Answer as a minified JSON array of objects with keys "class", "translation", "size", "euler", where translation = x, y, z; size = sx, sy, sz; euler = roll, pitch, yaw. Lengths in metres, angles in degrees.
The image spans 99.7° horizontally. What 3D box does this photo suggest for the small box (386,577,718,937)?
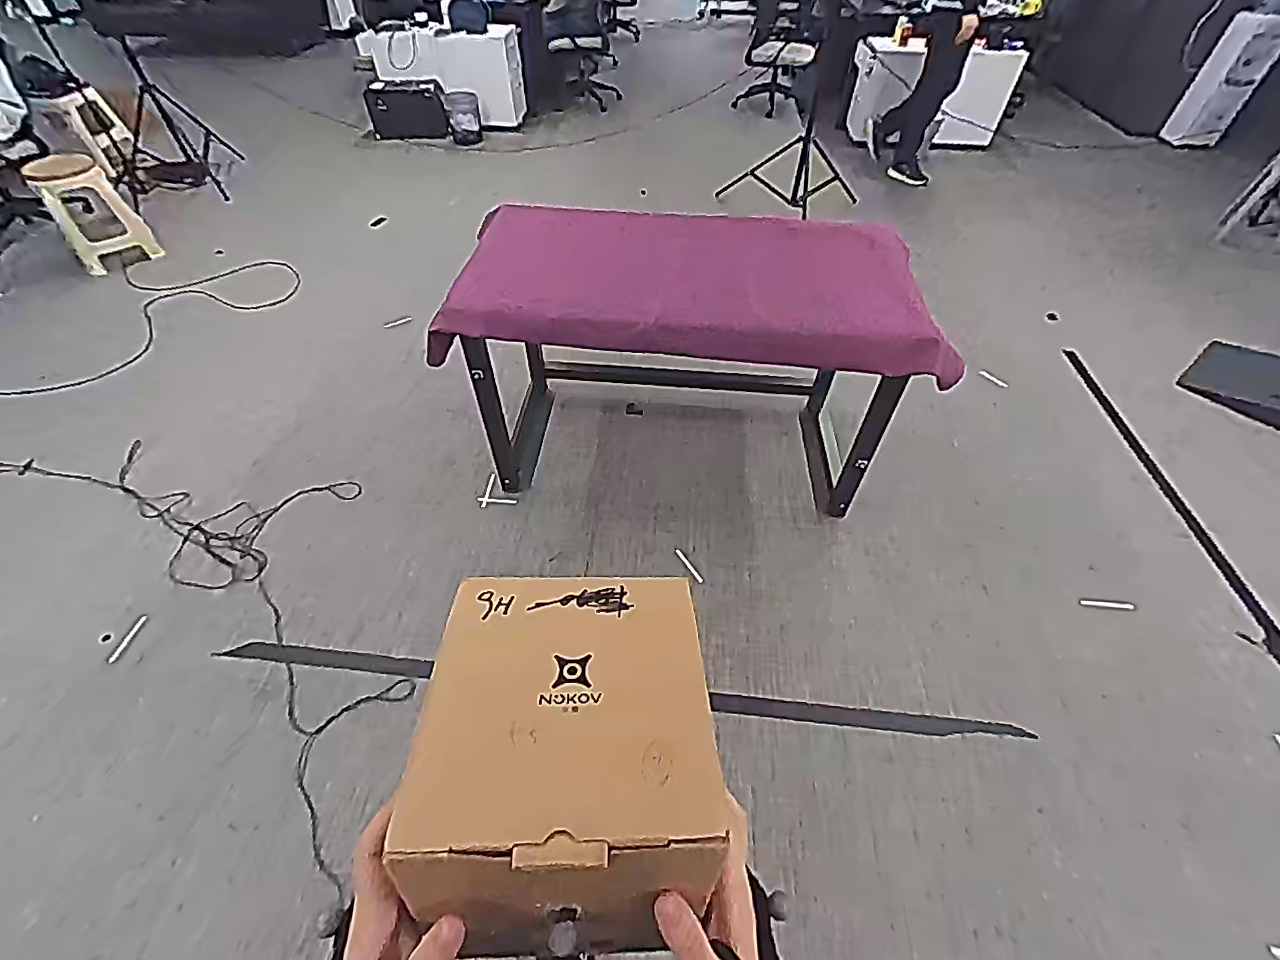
[{"class":"small box","translation":[-0.047,0.188,0.375],"size":[0.168,0.176,0.179],"euler":[1,36,-4]}]
